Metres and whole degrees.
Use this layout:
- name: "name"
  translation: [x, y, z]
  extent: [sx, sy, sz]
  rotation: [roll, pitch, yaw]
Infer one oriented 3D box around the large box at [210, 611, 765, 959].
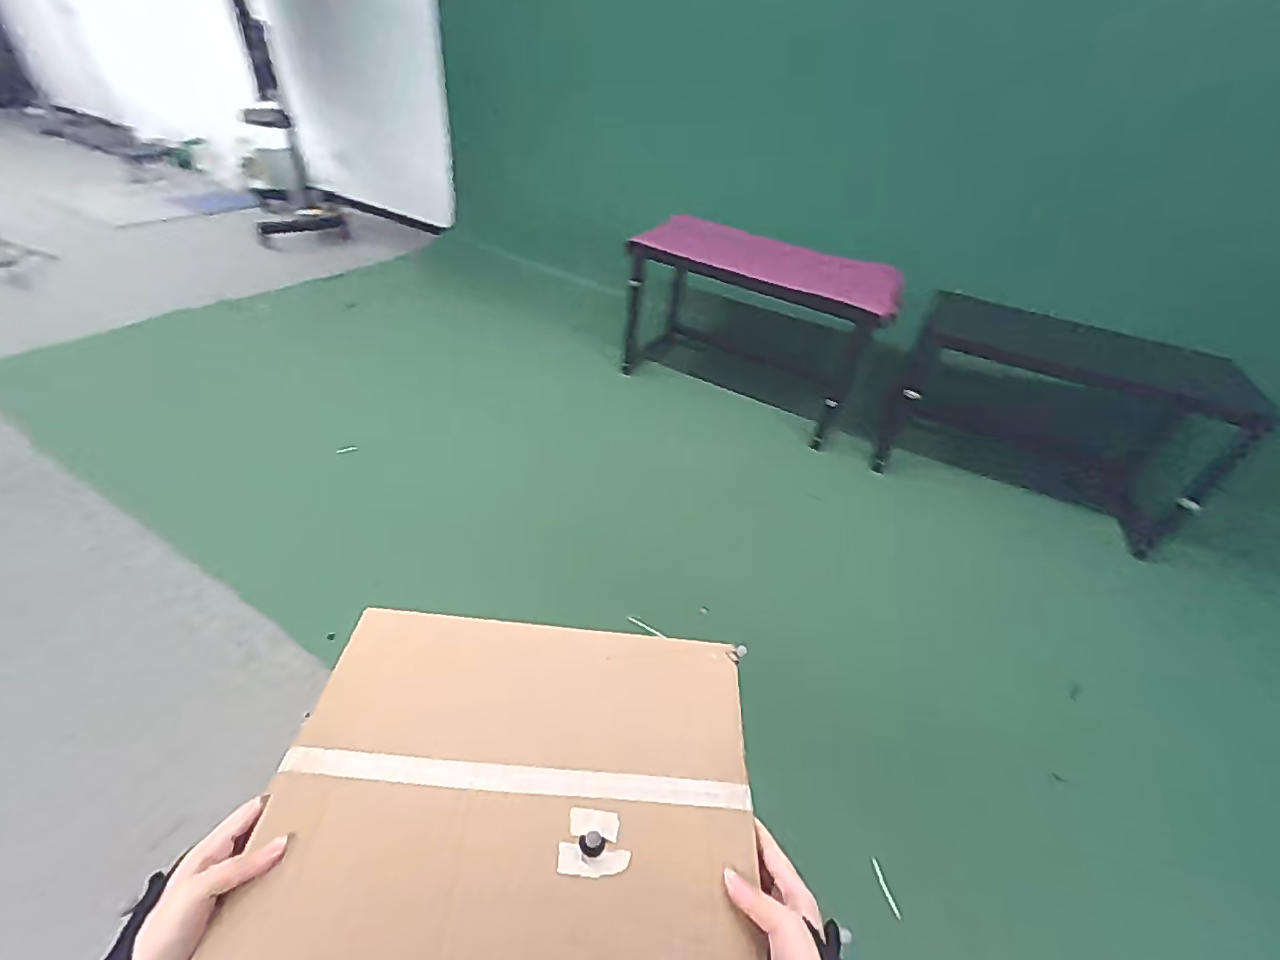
- name: "large box"
  translation: [-0.121, 0.373, 0.587]
  extent: [0.408, 0.320, 0.320]
  rotation: [7, 42, -4]
